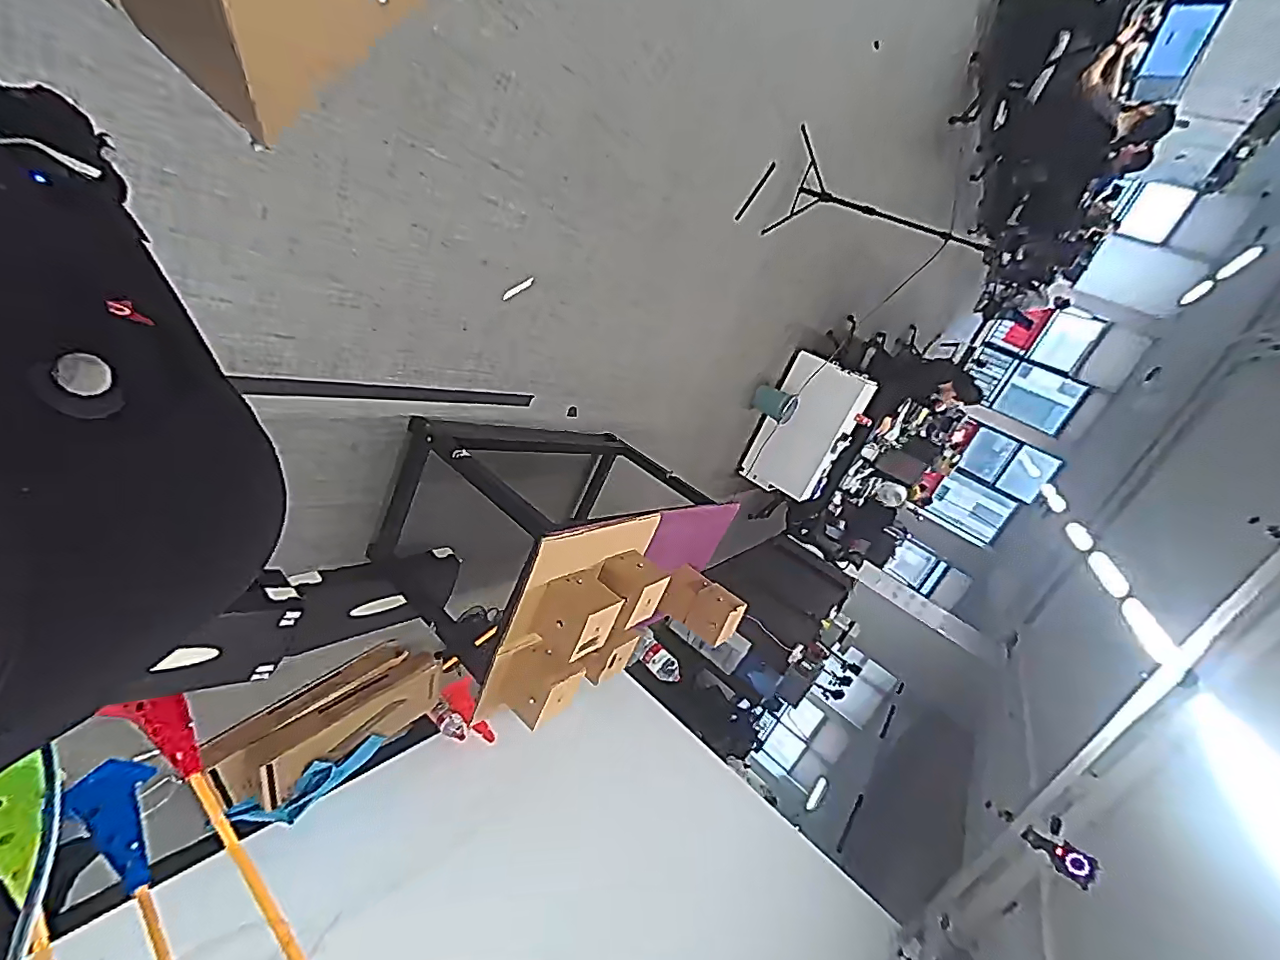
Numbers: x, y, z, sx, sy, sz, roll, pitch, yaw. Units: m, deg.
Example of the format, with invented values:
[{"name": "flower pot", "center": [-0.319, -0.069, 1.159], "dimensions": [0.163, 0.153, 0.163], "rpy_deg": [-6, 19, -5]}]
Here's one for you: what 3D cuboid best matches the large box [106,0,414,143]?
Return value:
[{"name": "large box", "center": [-0.379, -0.586, 0.457], "dimensions": [0.320, 0.408, 0.320], "rpy_deg": [-50, 120, -8]}]
